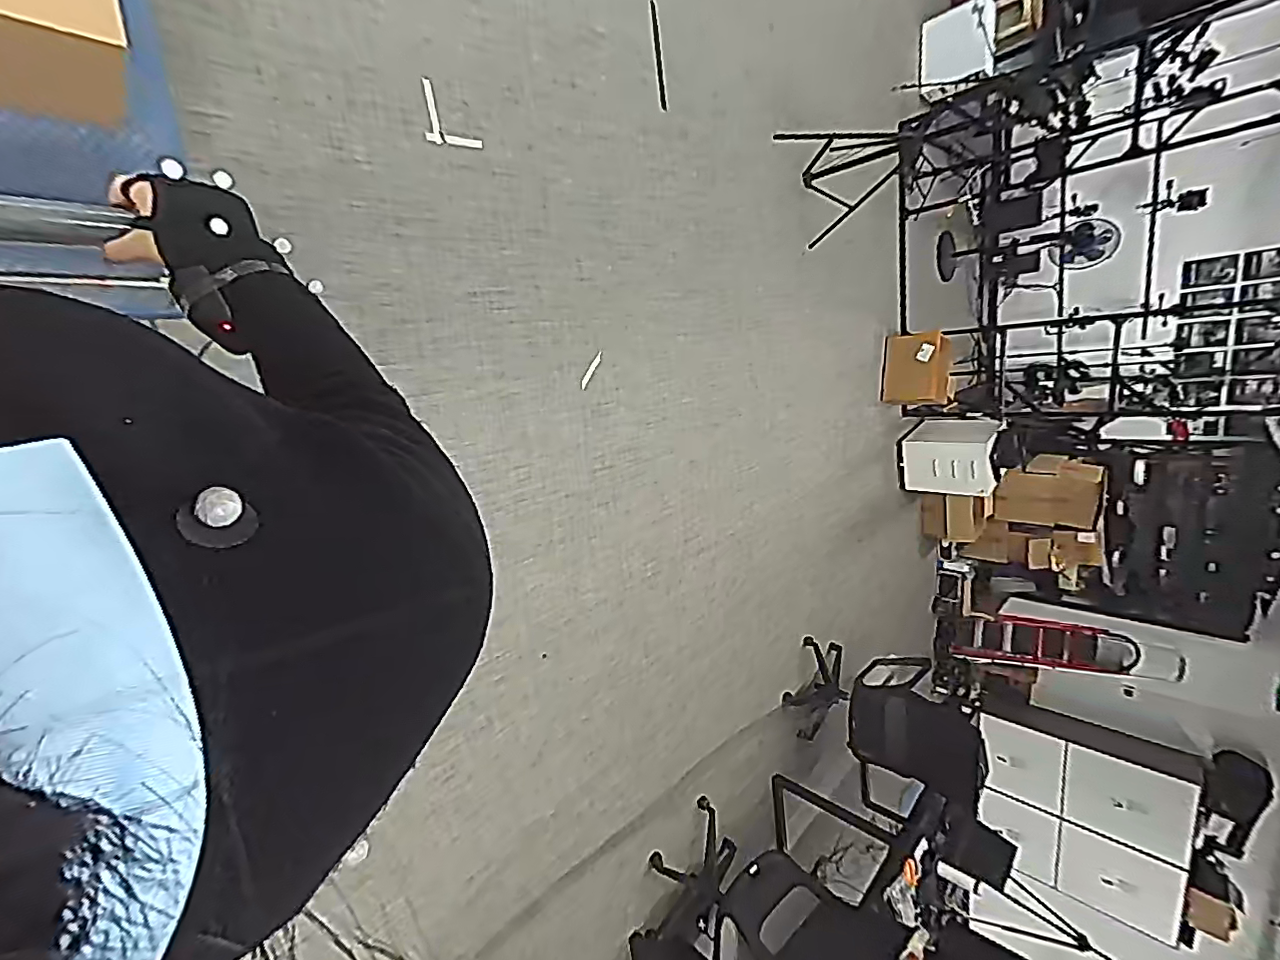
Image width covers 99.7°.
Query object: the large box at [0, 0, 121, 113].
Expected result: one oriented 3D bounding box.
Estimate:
[{"bbox_3d":[-0.966,-0.733,0.681,0.408,0.320,0.320,-14,104,-43],"label":"large box"}]
